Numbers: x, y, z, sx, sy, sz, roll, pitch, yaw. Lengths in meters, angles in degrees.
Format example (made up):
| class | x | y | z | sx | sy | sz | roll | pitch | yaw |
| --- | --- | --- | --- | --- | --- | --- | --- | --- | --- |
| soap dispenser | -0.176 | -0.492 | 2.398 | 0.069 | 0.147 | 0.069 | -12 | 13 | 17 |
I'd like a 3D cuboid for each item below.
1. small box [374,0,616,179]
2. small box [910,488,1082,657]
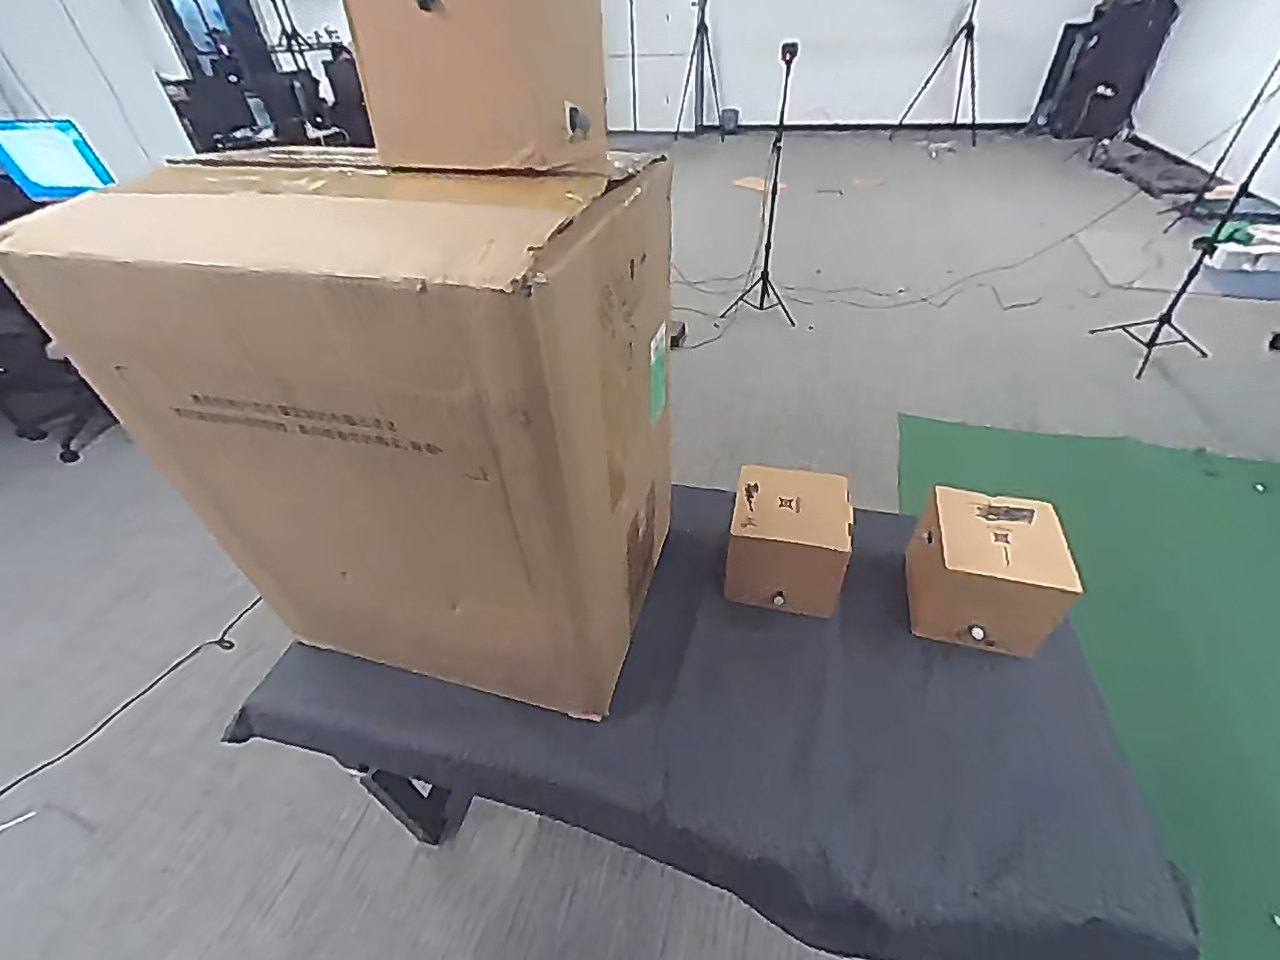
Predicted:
| class | x | y | z | sx | sy | sz | roll | pitch | yaw |
| --- | --- | --- | --- | --- | --- | --- | --- | --- | --- |
| small box | -0.130 | -0.398 | 0.527 | 0.179 | 0.176 | 0.168 | 11 | 38 | 13 |
| small box | 0.533 | 0.142 | 0.841 | 0.168 | 0.176 | 0.179 | 9 | 43 | 15 |
